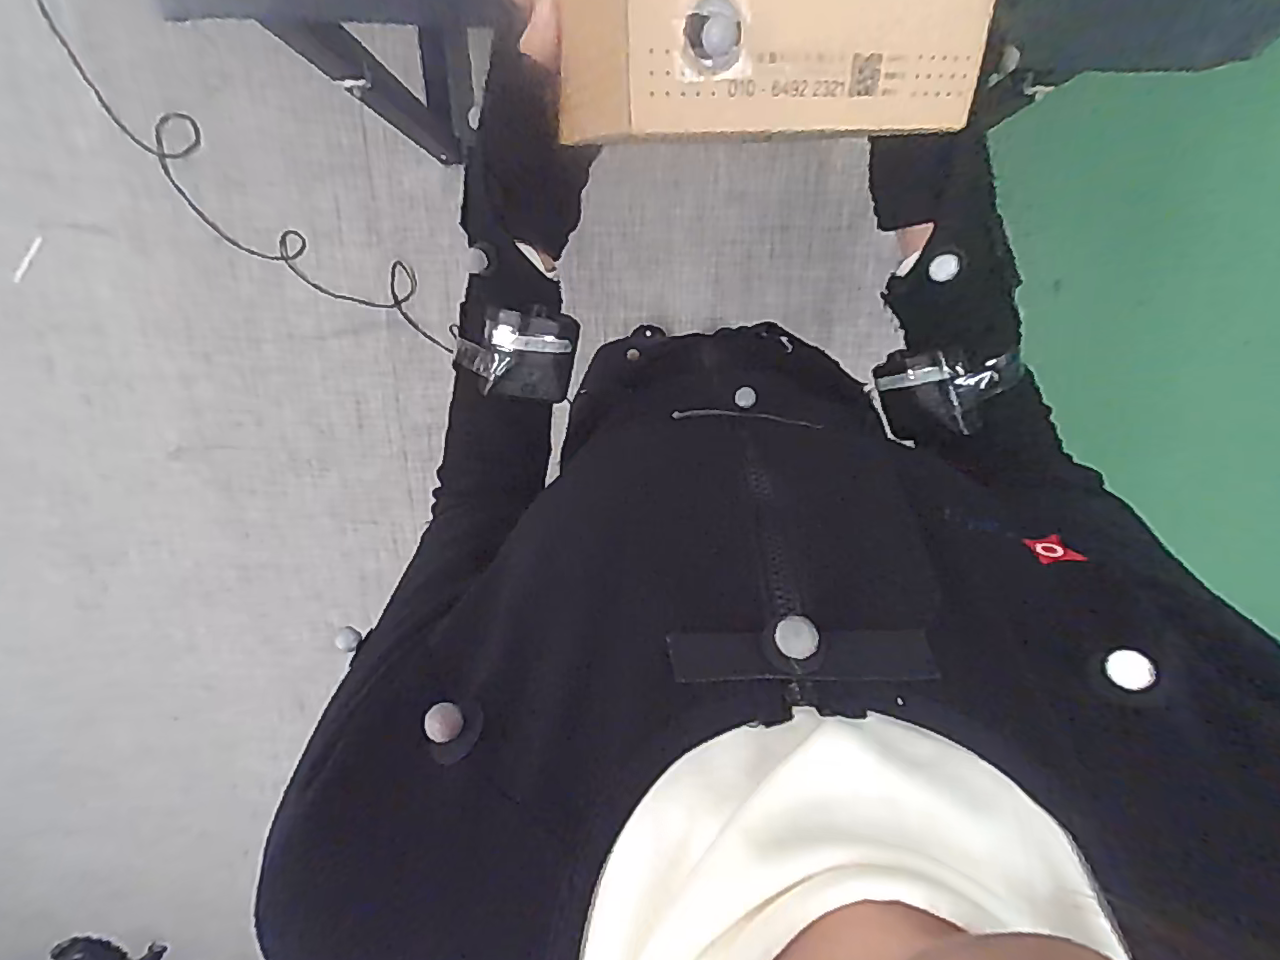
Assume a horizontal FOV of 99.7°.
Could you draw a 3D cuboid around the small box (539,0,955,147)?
[{"bbox_3d":[0.043,-0.272,0.271,0.168,0.179,0.176,-11,121,-16],"label":"small box"}]
